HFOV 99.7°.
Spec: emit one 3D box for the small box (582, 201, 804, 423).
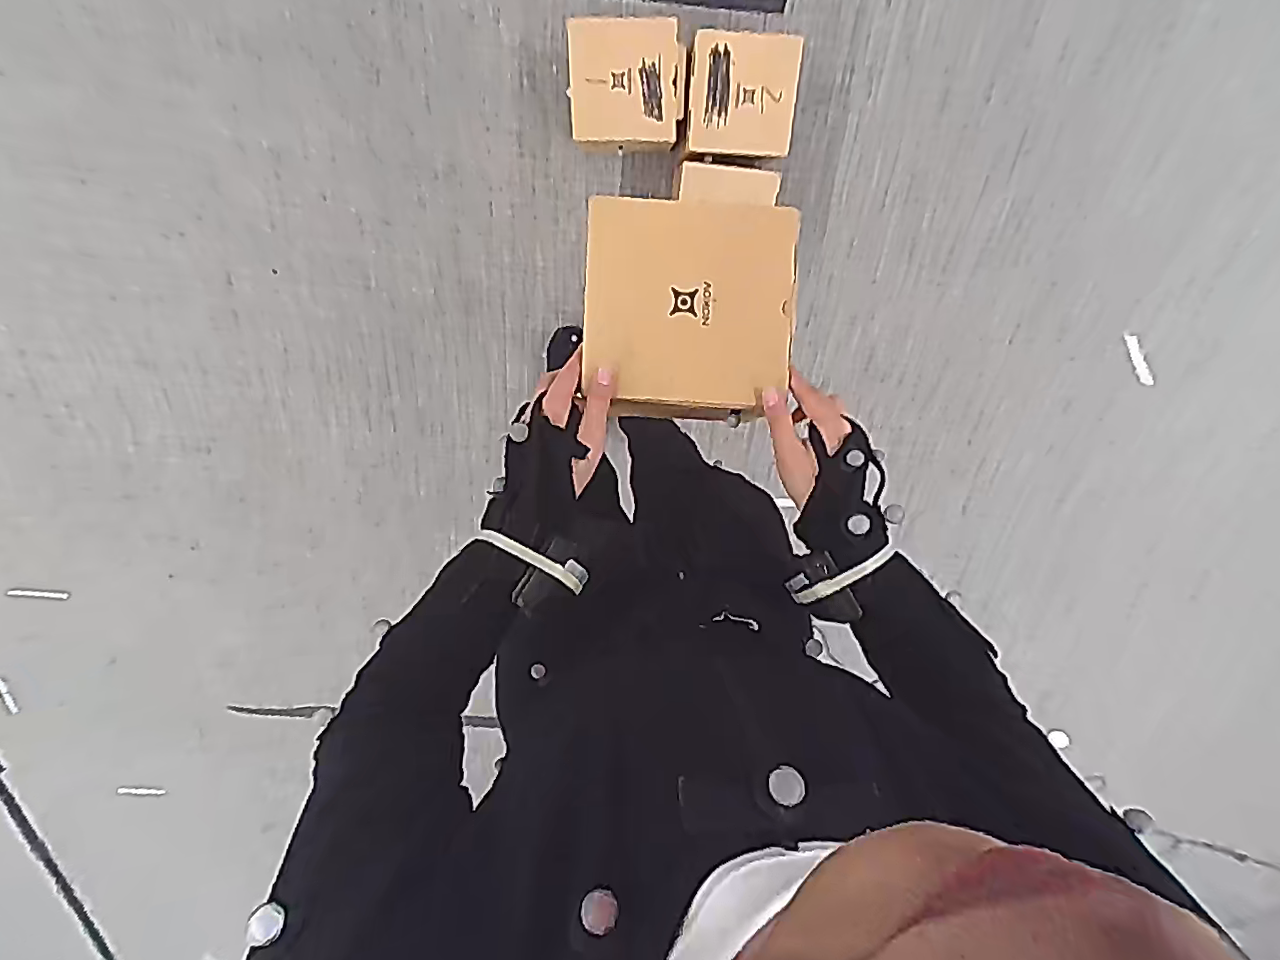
[{"bbox_3d":[0.043,-0.145,0.526,0.179,0.176,0.168,3,93,-2],"label":"small box"}]
